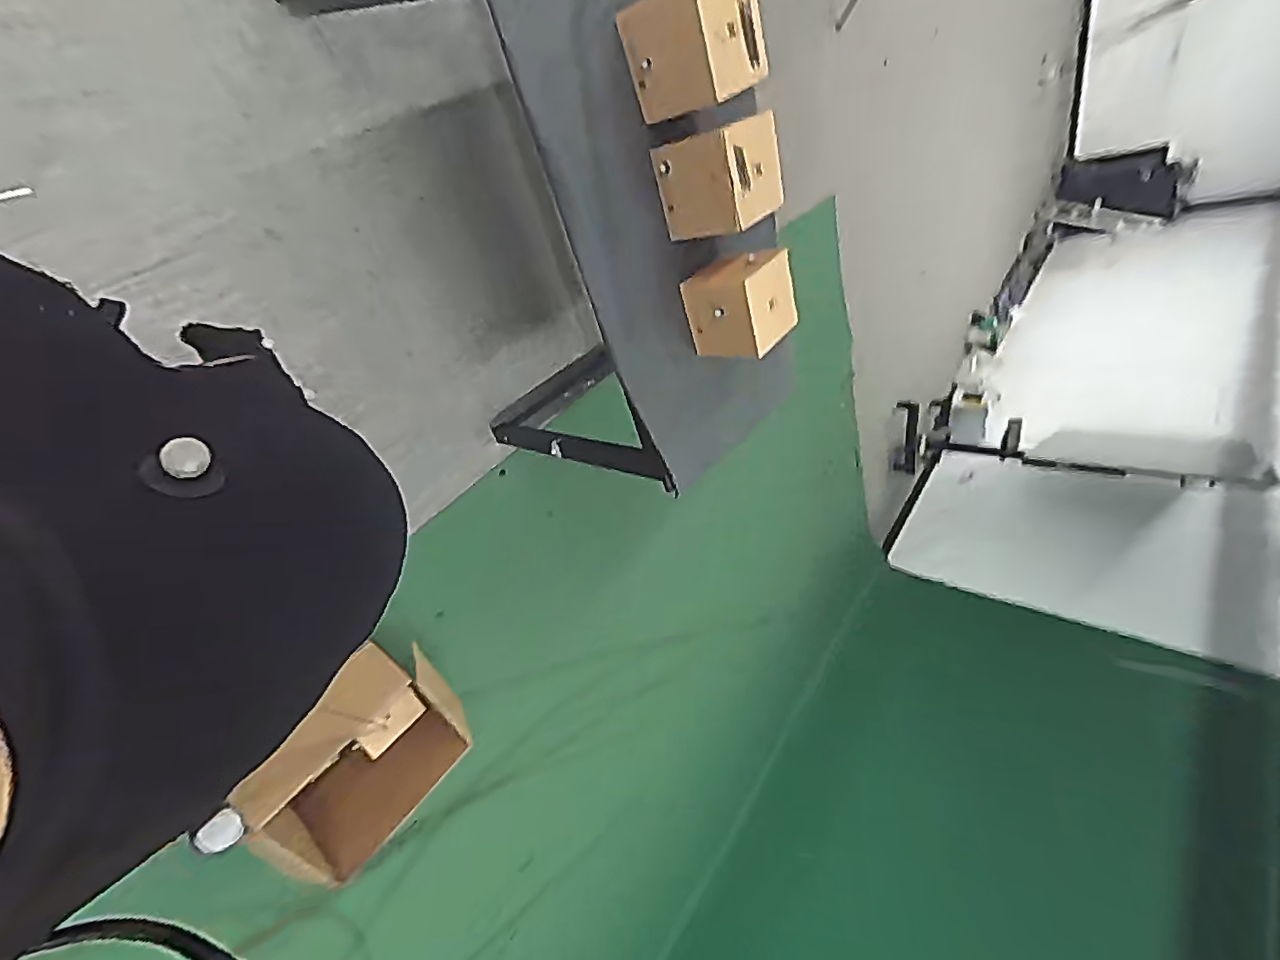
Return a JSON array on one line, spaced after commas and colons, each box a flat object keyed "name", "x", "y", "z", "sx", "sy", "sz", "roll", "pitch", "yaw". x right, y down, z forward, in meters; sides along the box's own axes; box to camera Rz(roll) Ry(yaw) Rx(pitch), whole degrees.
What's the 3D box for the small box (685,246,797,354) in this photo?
[{"name": "small box", "x": 0.215, "y": -0.388, "z": 1.175, "sx": 0.179, "sy": 0.176, "sz": 0.168, "roll": -44, "pitch": 131, "yaw": -31}]
